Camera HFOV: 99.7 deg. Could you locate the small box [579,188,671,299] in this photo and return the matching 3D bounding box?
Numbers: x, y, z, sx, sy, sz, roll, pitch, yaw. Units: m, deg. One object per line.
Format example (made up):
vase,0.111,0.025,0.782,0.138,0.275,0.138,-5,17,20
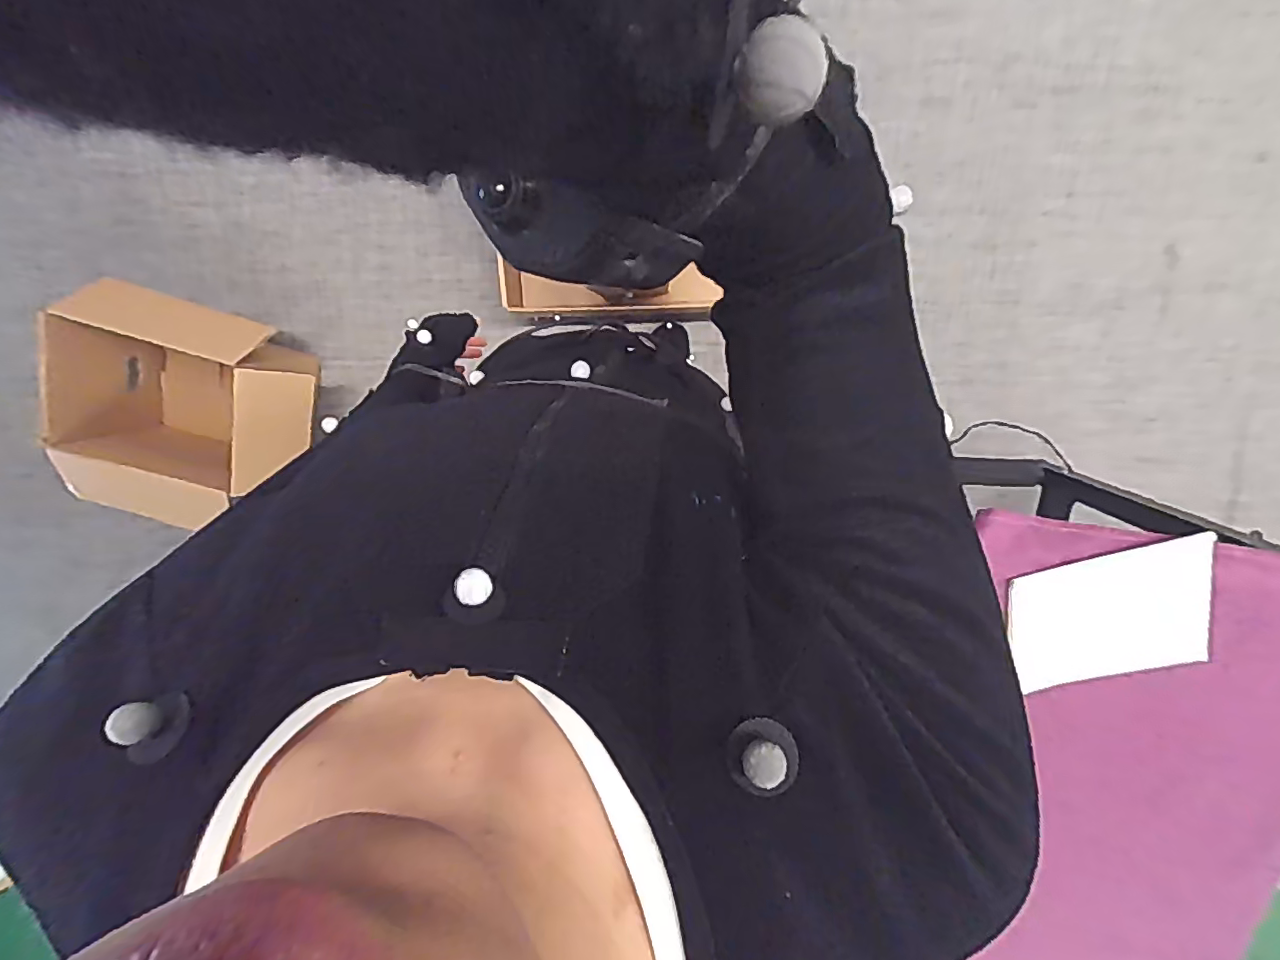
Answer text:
small box,-0.026,-0.453,1.058,0.168,0.176,0.179,-1,105,2
